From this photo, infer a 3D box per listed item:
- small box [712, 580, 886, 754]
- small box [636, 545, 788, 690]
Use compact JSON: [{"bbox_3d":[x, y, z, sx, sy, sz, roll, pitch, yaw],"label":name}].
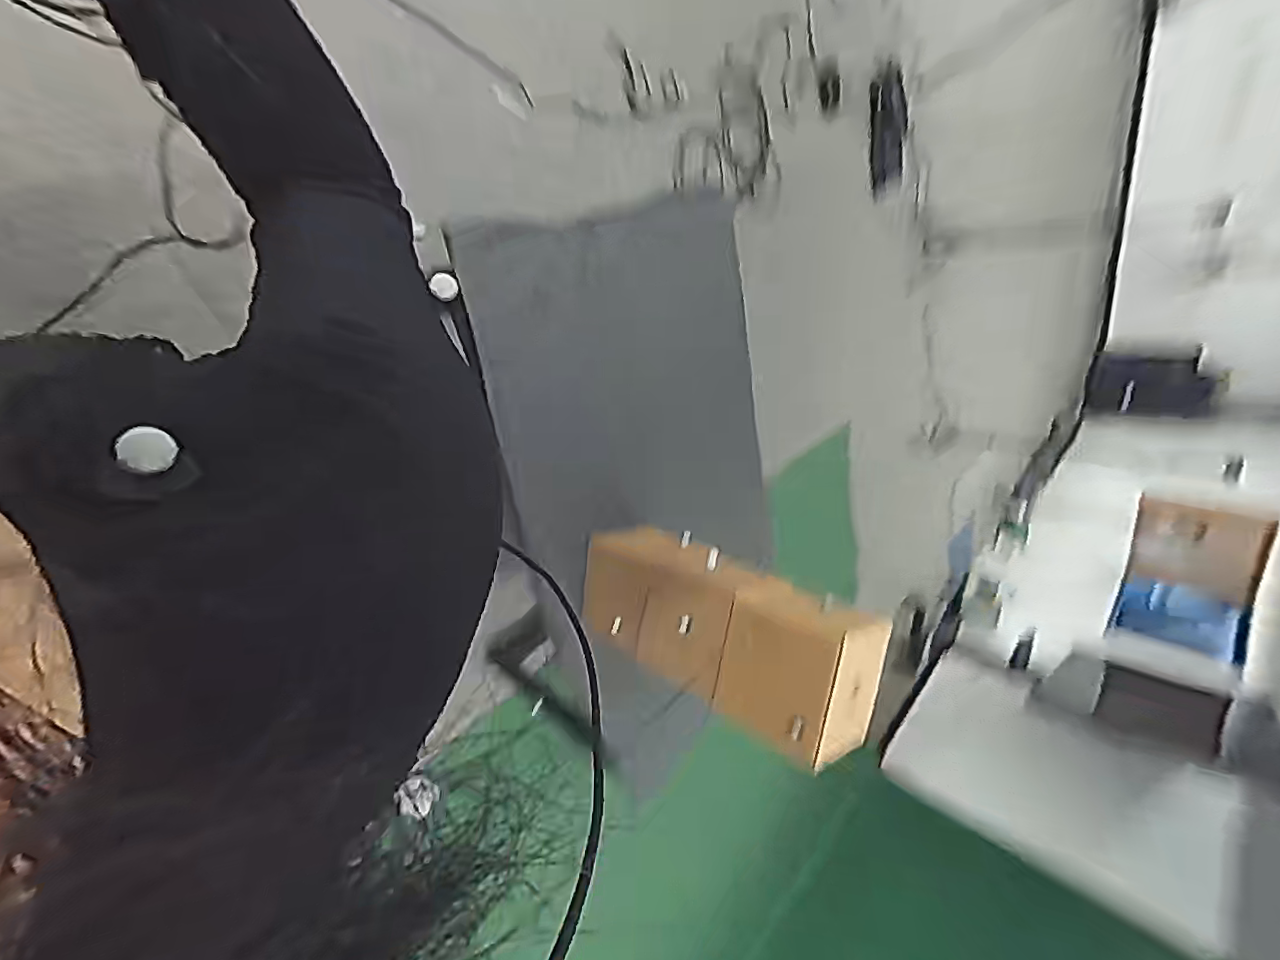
[{"bbox_3d":[0.224,0.249,0.777,0.168,0.176,0.179,6,97,-45],"label":"small box"},{"bbox_3d":[0.114,0.215,0.891,0.168,0.176,0.179,7,95,-45],"label":"small box"}]
